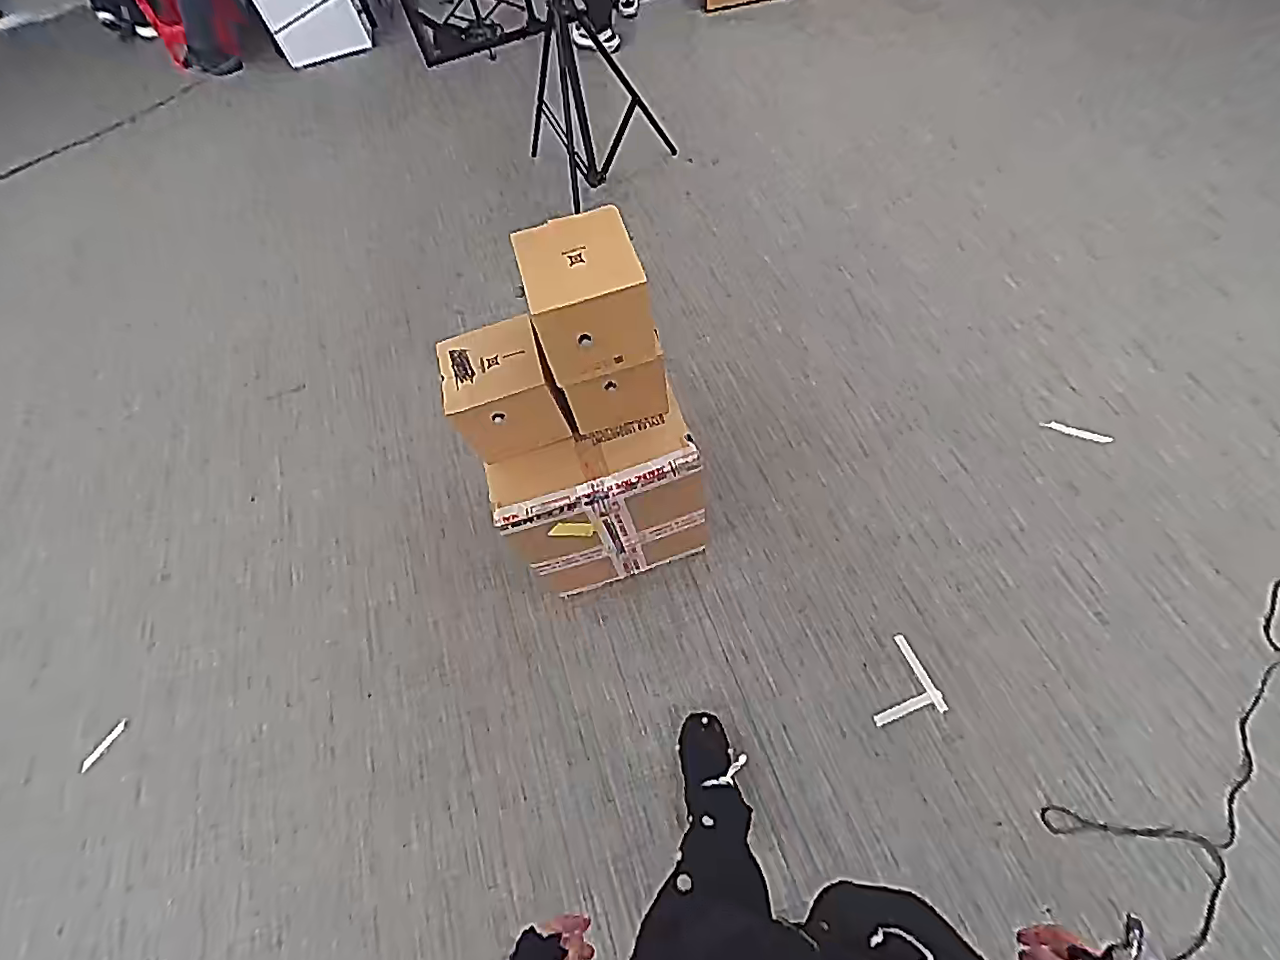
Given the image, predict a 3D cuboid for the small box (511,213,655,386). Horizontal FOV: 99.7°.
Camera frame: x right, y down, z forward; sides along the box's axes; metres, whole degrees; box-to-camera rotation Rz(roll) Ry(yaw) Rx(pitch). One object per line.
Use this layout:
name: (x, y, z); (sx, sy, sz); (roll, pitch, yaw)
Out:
small box: (-0.081, -0.266, 0.835); (0.168, 0.176, 0.179); (-18, 62, -2)
